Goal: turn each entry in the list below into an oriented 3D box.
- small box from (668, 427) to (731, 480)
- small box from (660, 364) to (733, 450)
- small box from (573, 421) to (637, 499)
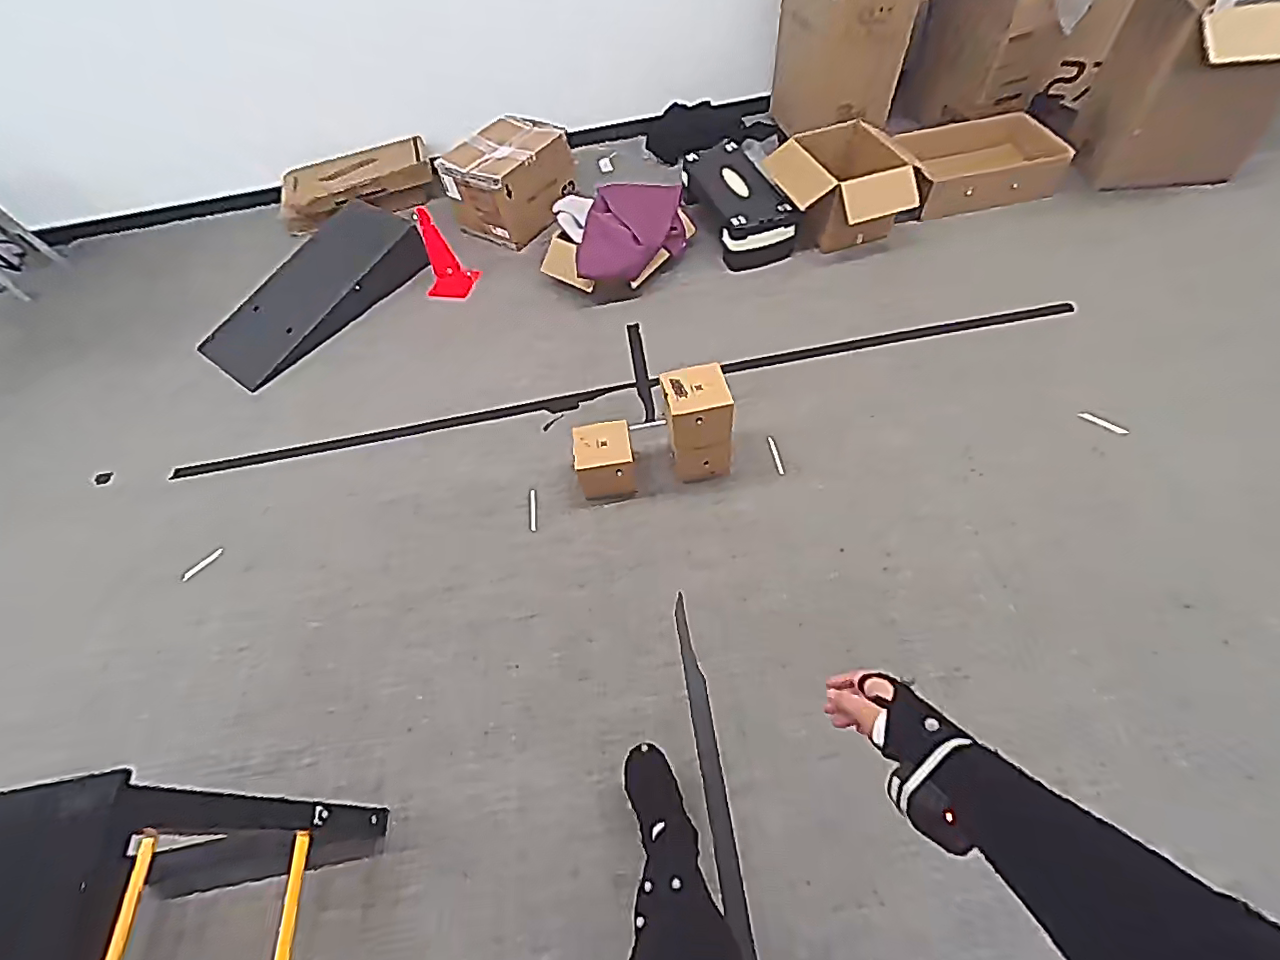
[{"bbox_3d":[0.186,-0.117,1.703,0.168,0.176,0.179,-12,56,-1],"label":"small box"},{"bbox_3d":[0.163,-0.205,1.565,0.179,0.176,0.168,-12,56,-2],"label":"small box"},{"bbox_3d":[-0.107,-0.059,1.697,0.179,0.176,0.168,-9,55,1],"label":"small box"}]
